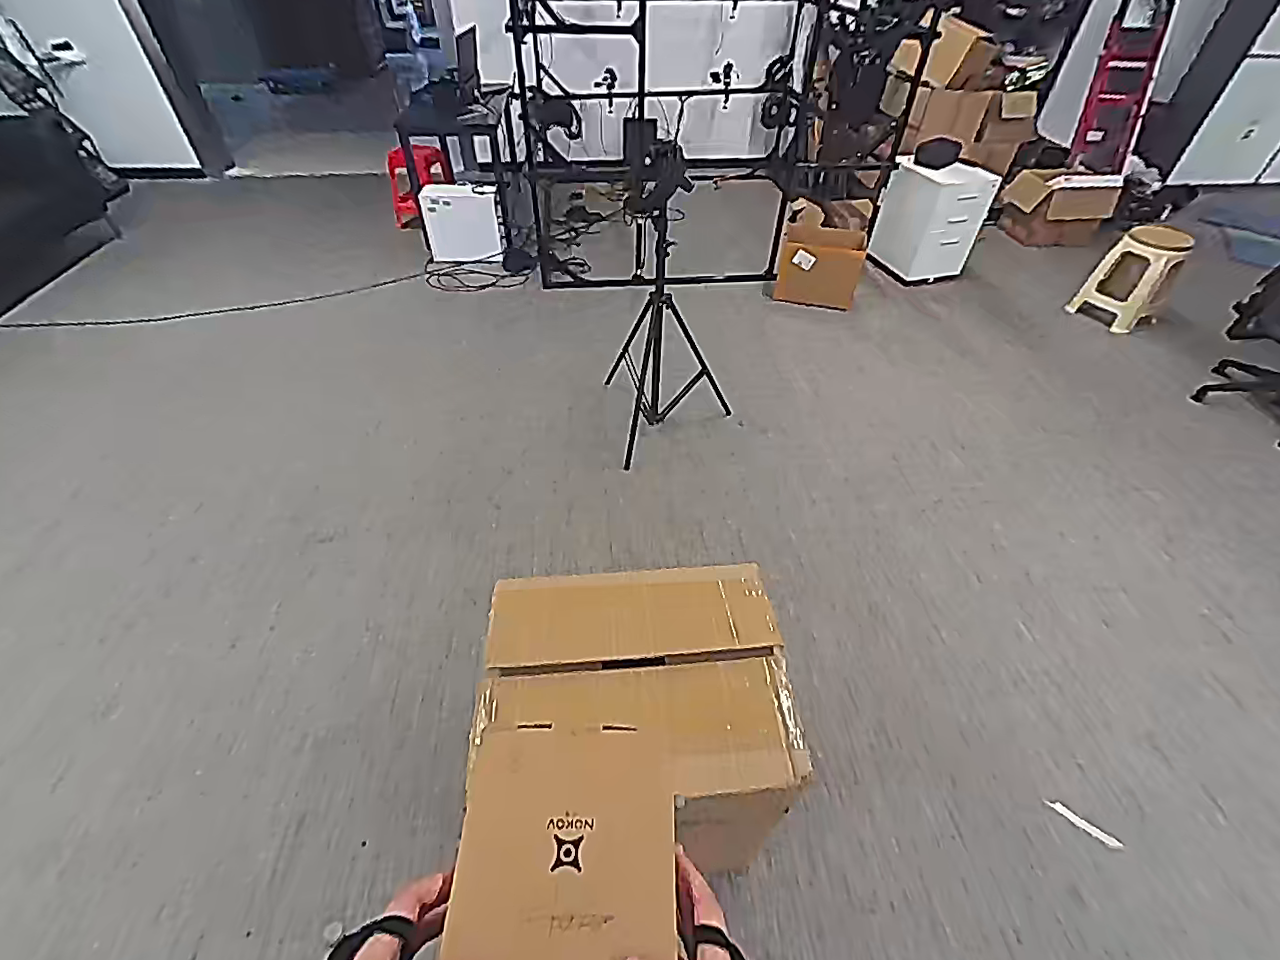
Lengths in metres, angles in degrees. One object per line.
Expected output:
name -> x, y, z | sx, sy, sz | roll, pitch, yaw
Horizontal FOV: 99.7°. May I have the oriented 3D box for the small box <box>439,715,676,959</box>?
small box -> -0.058, 0.328, 0.481 | 0.168, 0.176, 0.179 | 2, 50, -1
